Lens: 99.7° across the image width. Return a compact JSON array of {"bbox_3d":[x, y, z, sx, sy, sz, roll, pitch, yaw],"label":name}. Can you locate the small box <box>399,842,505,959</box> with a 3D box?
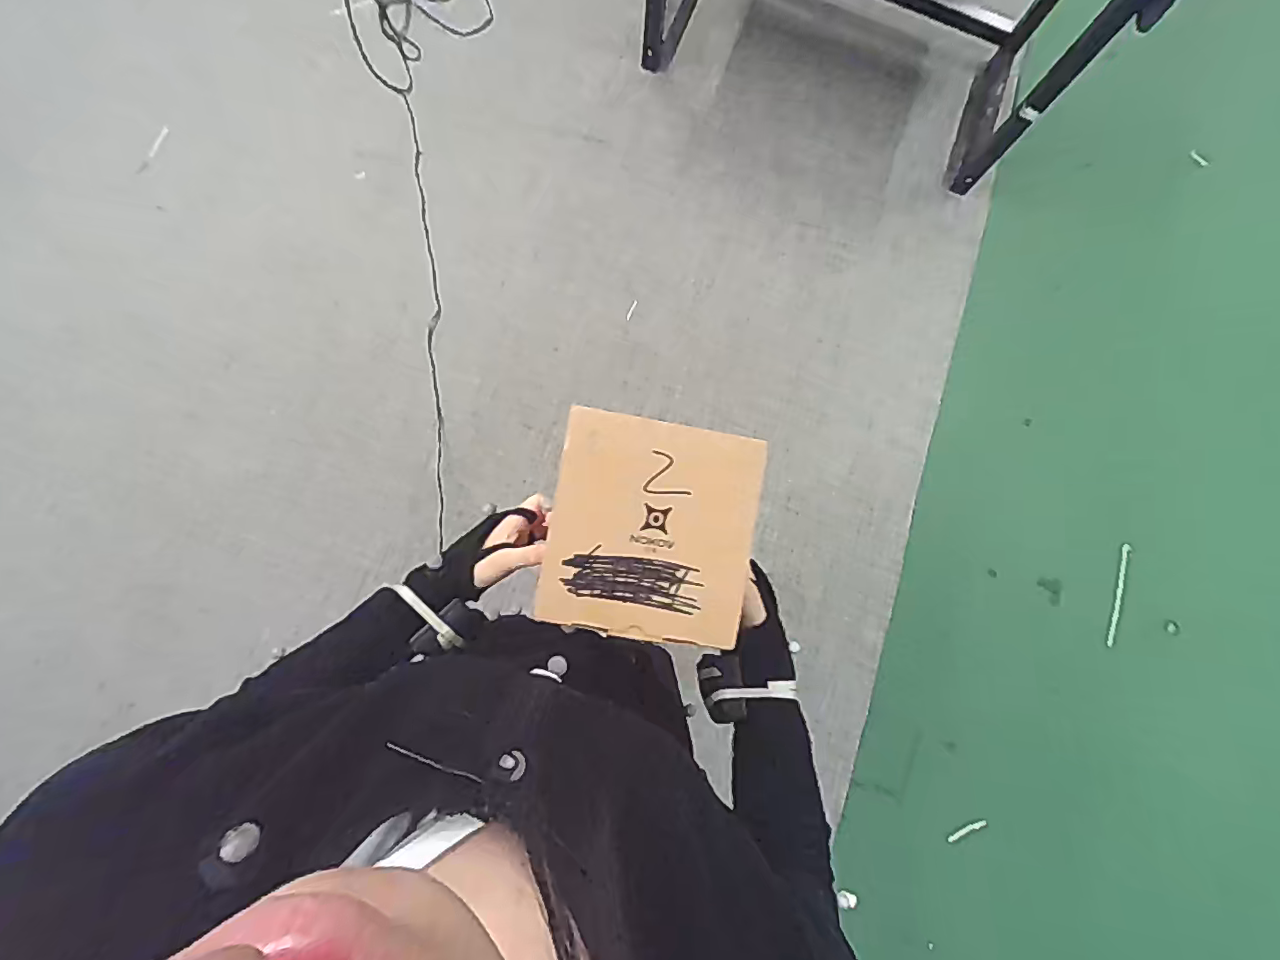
[{"bbox_3d":[-0.432,1.009,1.278,0.168,0.176,0.179,20,79,-2],"label":"small box"}]
